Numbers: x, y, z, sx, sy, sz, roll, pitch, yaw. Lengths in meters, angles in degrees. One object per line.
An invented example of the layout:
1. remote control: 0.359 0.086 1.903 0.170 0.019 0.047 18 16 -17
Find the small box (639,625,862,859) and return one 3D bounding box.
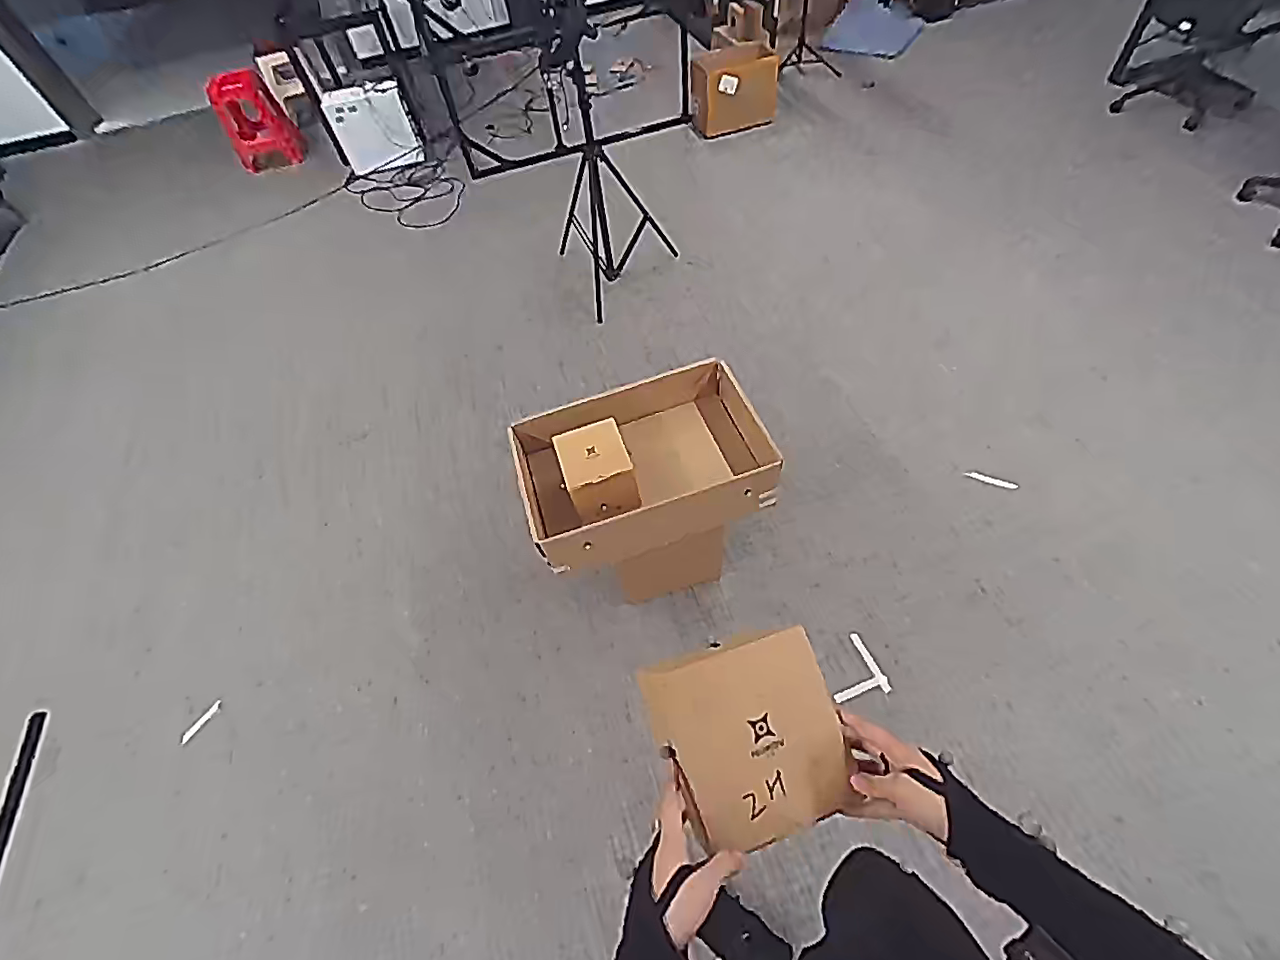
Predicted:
1. small box: 0.107 0.276 0.611 0.168 0.176 0.179 -15 76 -13

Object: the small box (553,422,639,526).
1. small box: -0.110 -0.013 1.385 0.168 0.176 0.179 -19 56 -6
